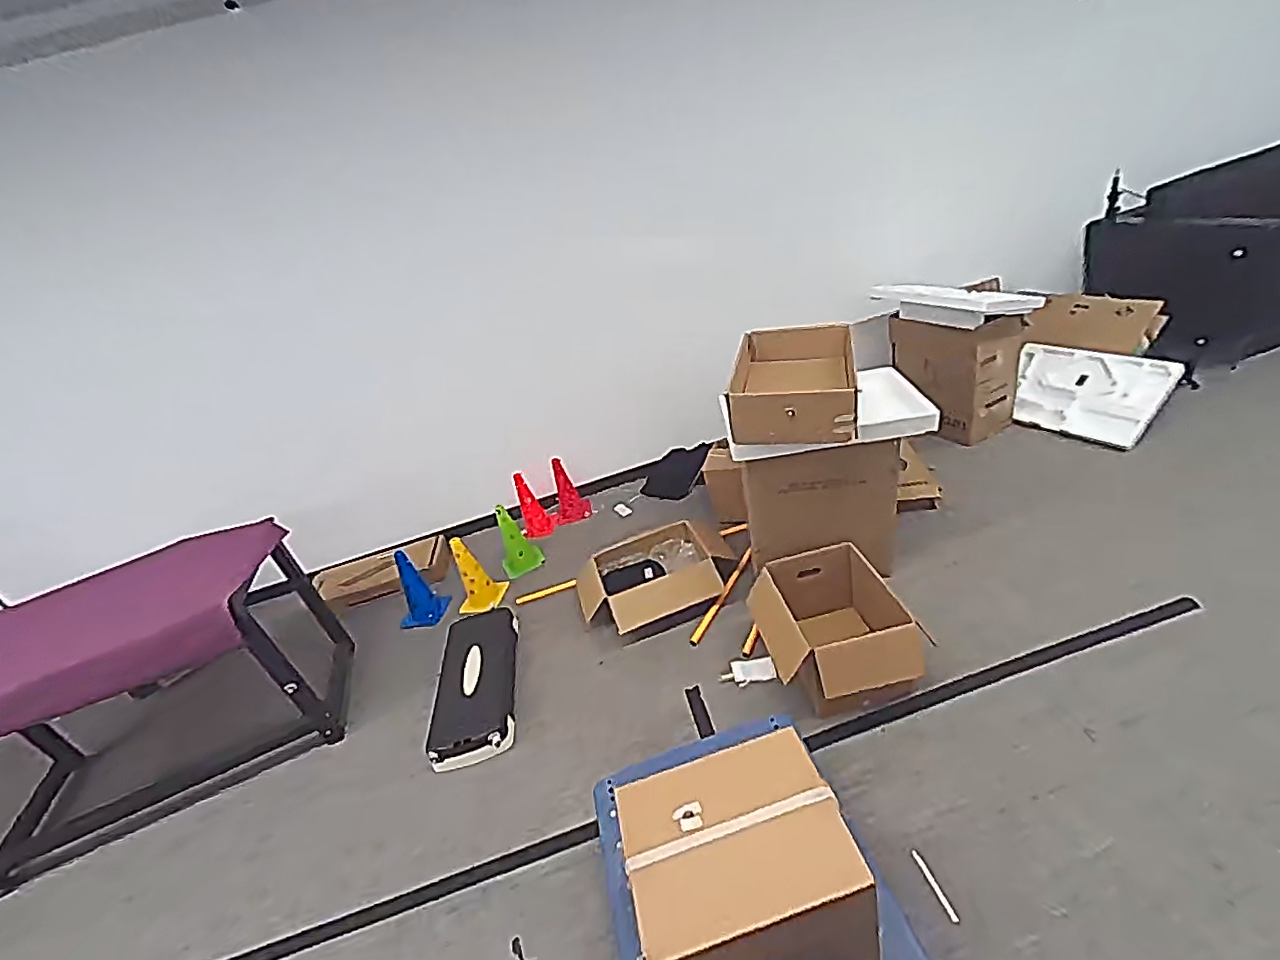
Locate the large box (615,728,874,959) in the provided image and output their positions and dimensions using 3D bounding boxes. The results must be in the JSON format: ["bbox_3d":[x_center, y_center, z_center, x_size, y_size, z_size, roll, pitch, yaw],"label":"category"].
[{"bbox_3d":[0.203,0.788,1.094,0.408,0.320,0.320,-19,28,-4],"label":"large box"}]
